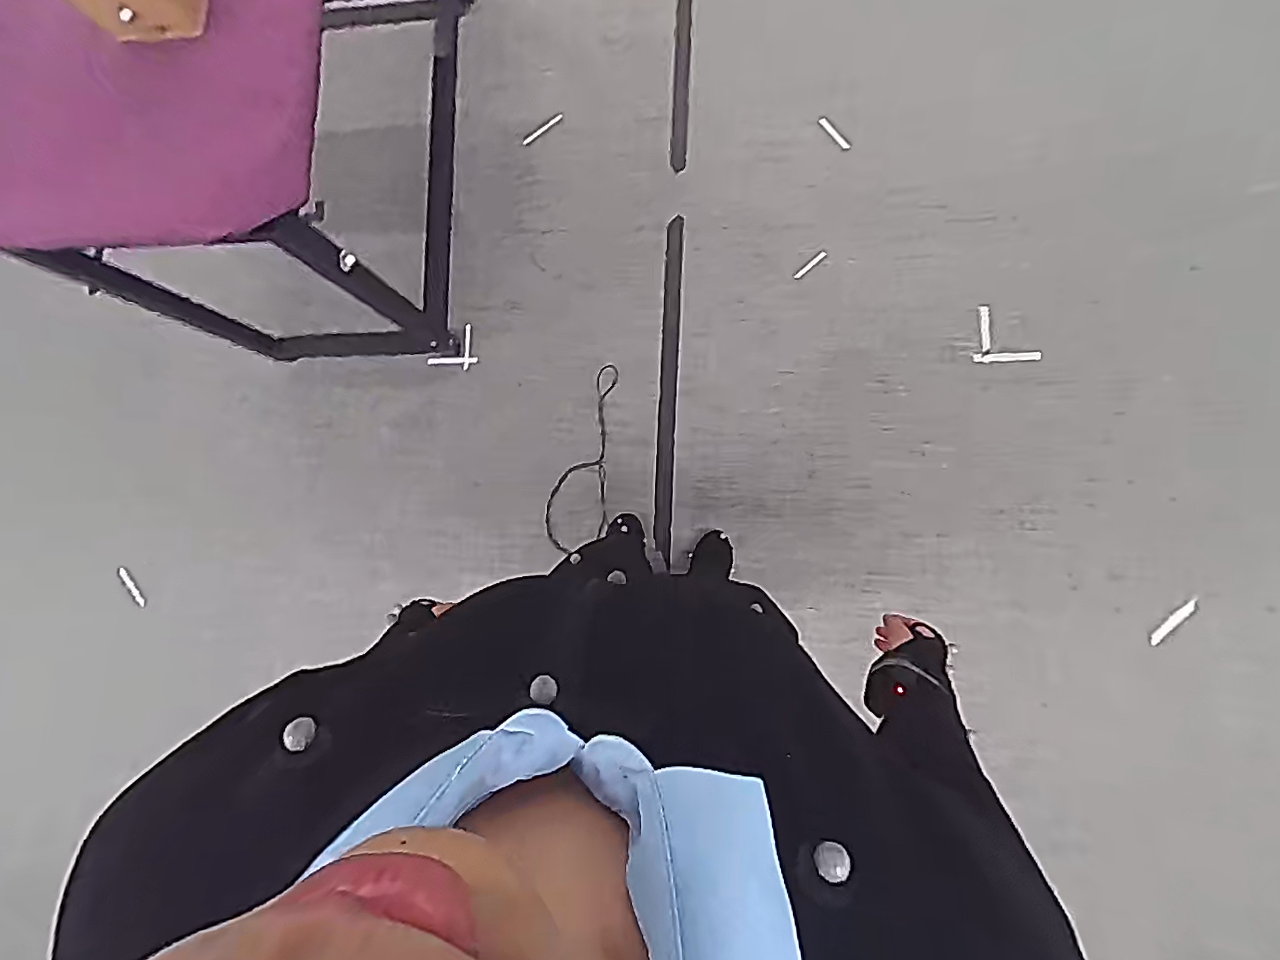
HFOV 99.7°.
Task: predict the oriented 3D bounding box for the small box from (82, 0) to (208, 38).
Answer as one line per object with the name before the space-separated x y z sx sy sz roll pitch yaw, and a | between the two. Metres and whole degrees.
small box | -0.817 -0.847 0.848 0.168 0.176 0.179 2 86 6
